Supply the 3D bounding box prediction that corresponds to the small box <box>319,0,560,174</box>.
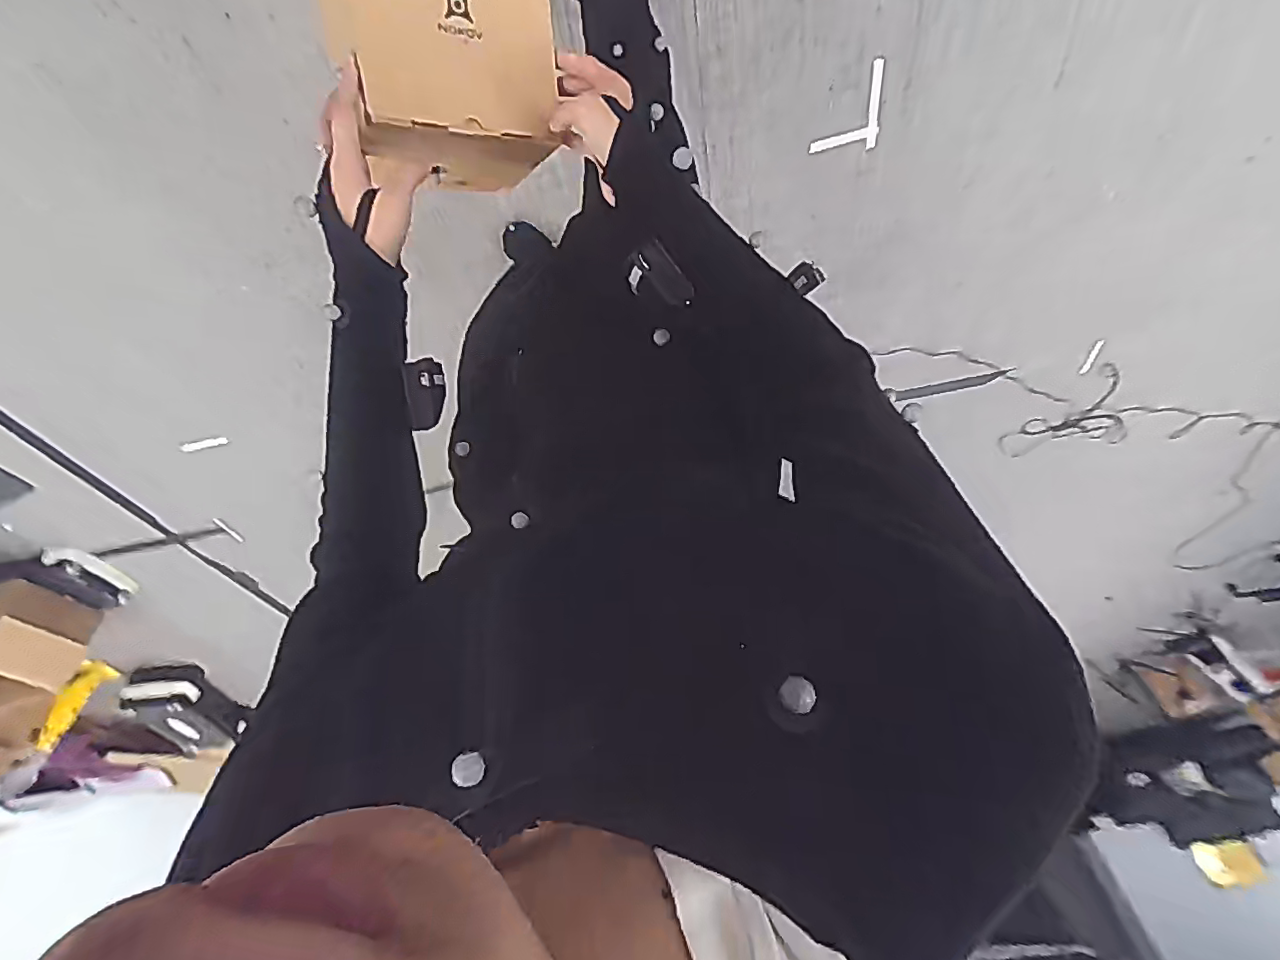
[{"bbox_3d":[-0.189,-0.409,0.496,0.168,0.176,0.179,-12,107,-30],"label":"small box"}]
